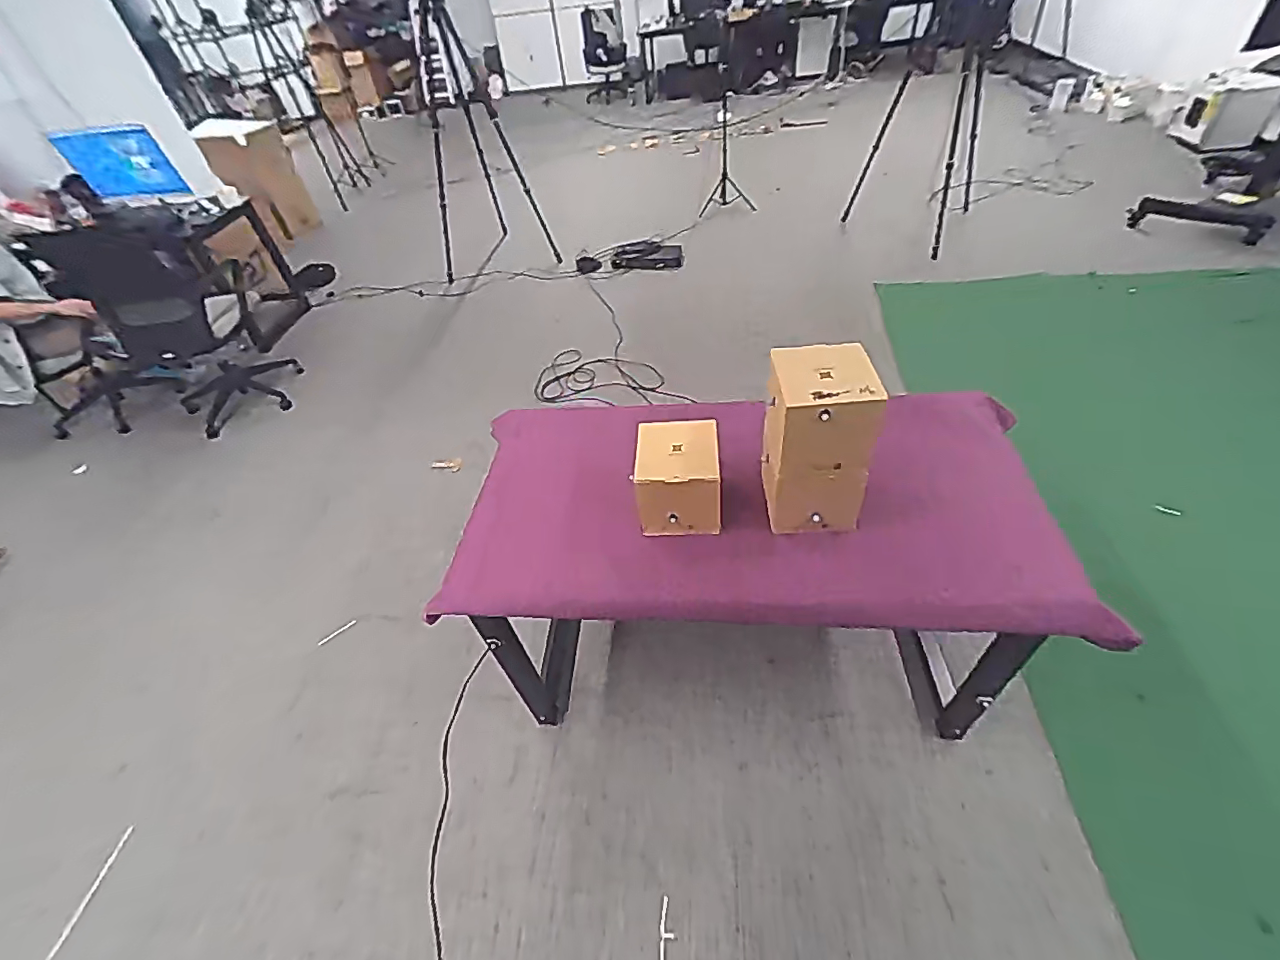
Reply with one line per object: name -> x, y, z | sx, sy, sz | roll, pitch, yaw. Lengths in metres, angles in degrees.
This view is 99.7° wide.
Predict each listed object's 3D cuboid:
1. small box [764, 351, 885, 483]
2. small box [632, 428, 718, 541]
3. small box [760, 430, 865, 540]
small box -> 0.324, -0.114, 0.989 | 0.168, 0.176, 0.179 | -4, 44, 5
small box -> 0.077, 0.010, 1.138 | 0.168, 0.176, 0.179 | -2, 46, 6
small box -> 0.340, 0.003, 1.104 | 0.168, 0.176, 0.179 | -3, 45, 6
